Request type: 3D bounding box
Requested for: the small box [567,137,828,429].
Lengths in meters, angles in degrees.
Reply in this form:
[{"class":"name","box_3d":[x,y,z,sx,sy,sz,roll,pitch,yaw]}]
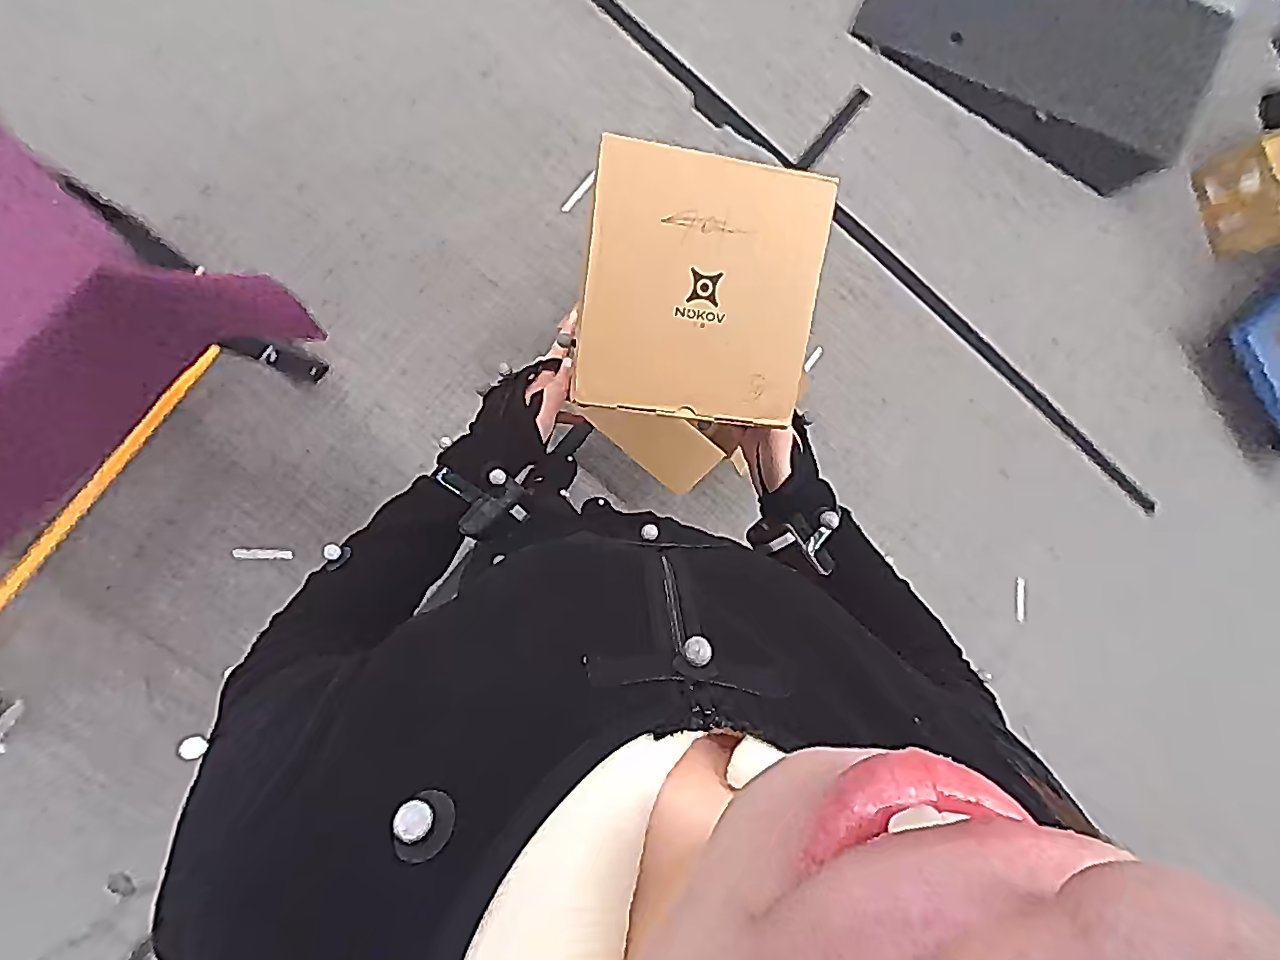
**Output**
[{"class":"small box","box_3d":[0.029,-0.147,0.452,0.168,0.176,0.179,4,102,-9]}]
